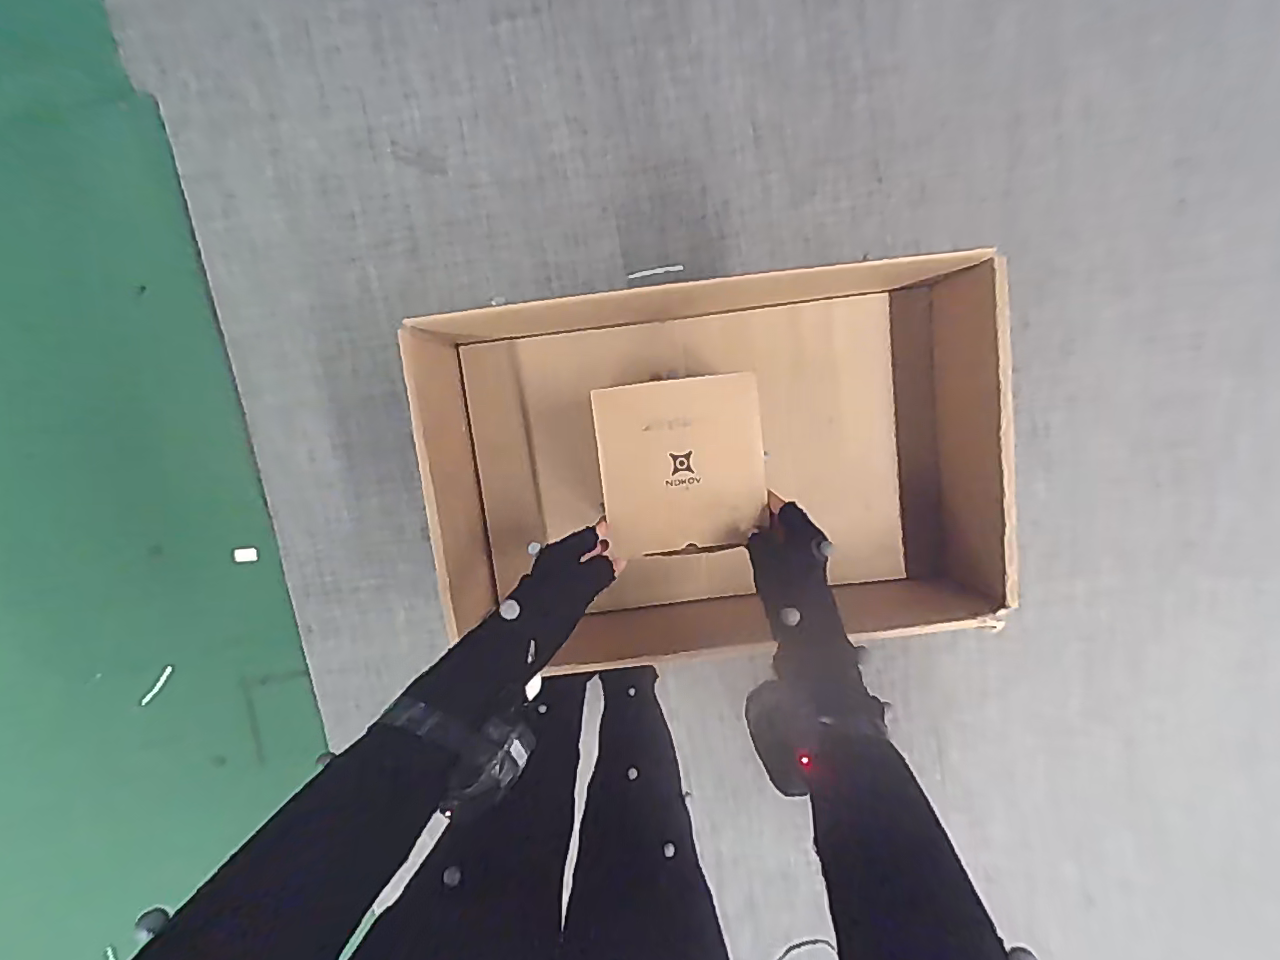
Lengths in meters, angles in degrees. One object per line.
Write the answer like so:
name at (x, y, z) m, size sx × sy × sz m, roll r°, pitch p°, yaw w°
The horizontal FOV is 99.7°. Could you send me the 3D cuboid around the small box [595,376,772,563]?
small box at (0.045, -0.018, 0.622) m, size 0.168 × 0.176 × 0.179 m, roll -8°, pitch 96°, yaw 0°
